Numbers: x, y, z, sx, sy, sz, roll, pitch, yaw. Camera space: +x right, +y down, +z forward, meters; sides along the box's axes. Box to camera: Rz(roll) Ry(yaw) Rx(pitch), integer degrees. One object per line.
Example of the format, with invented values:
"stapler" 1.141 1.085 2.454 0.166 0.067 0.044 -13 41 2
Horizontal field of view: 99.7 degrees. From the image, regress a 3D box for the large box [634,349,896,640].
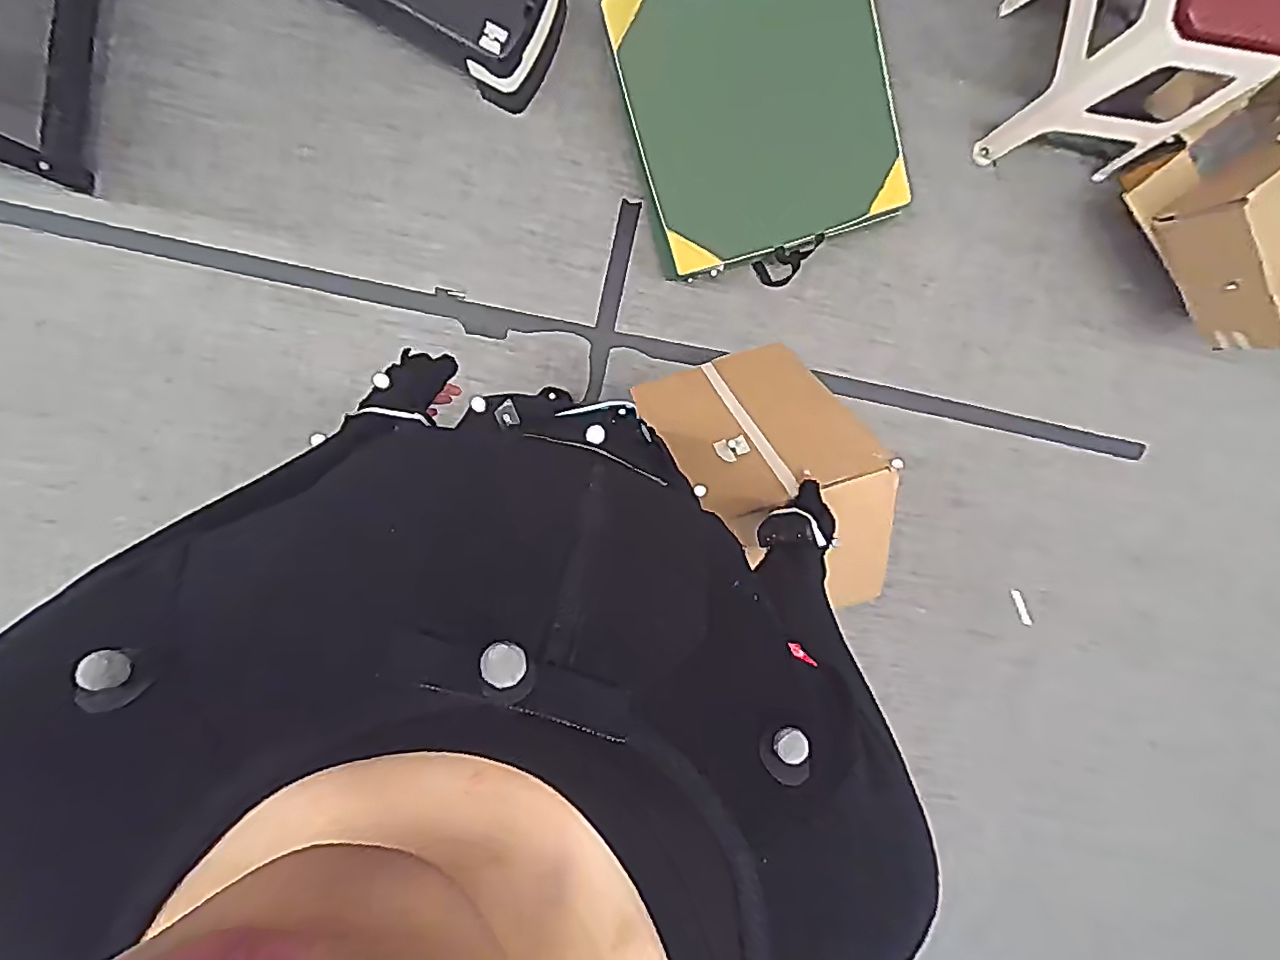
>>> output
"large box" 0.206 0.015 1.017 0.320 0.408 0.320 -18 132 -2
